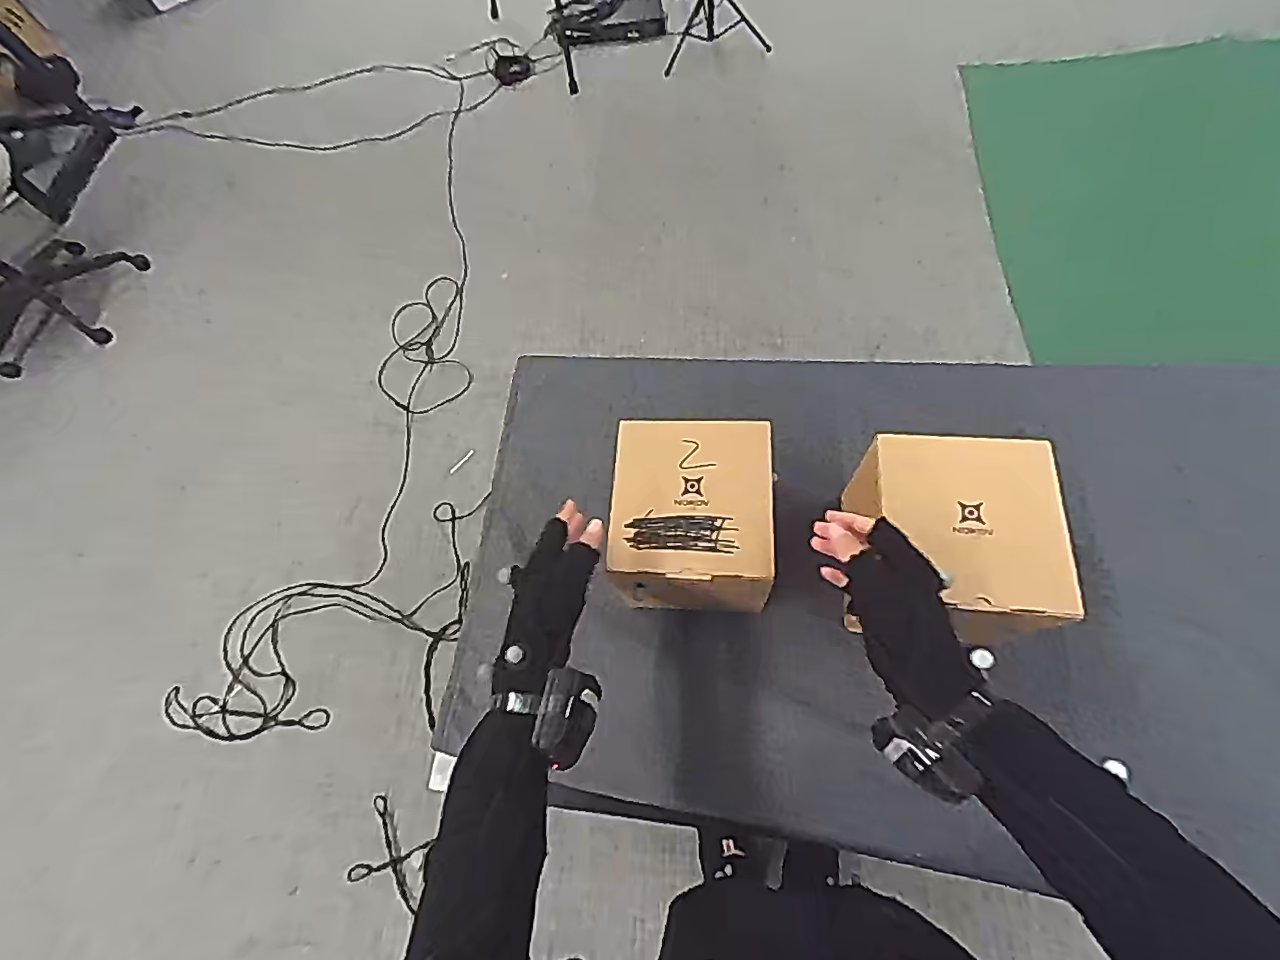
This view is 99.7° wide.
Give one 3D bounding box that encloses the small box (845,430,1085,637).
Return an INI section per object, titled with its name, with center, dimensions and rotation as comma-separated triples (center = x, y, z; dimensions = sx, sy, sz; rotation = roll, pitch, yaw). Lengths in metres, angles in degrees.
[small box]
center = 0.326, 0.063, 0.587
dimensions = 0.168, 0.176, 0.179
rotation = 3, 67, 9
